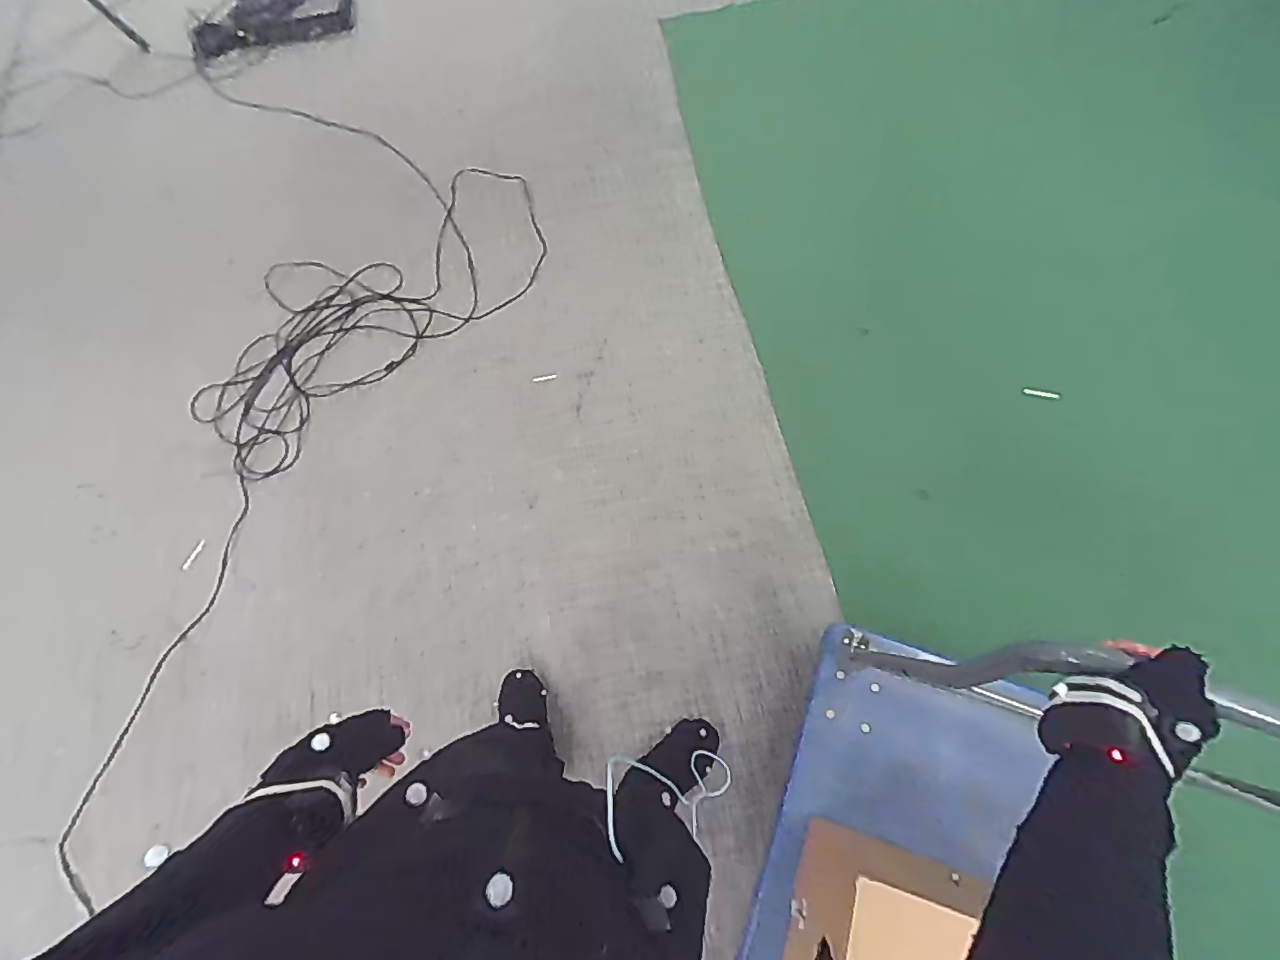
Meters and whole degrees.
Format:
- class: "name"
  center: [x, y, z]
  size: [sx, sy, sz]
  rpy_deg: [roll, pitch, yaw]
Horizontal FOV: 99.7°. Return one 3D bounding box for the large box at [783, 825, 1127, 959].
- class: "large box"
  center: [0.451, 0.781, 0.809]
  size: [0.408, 0.320, 0.320]
  rpy_deg: [15, 73, 9]
